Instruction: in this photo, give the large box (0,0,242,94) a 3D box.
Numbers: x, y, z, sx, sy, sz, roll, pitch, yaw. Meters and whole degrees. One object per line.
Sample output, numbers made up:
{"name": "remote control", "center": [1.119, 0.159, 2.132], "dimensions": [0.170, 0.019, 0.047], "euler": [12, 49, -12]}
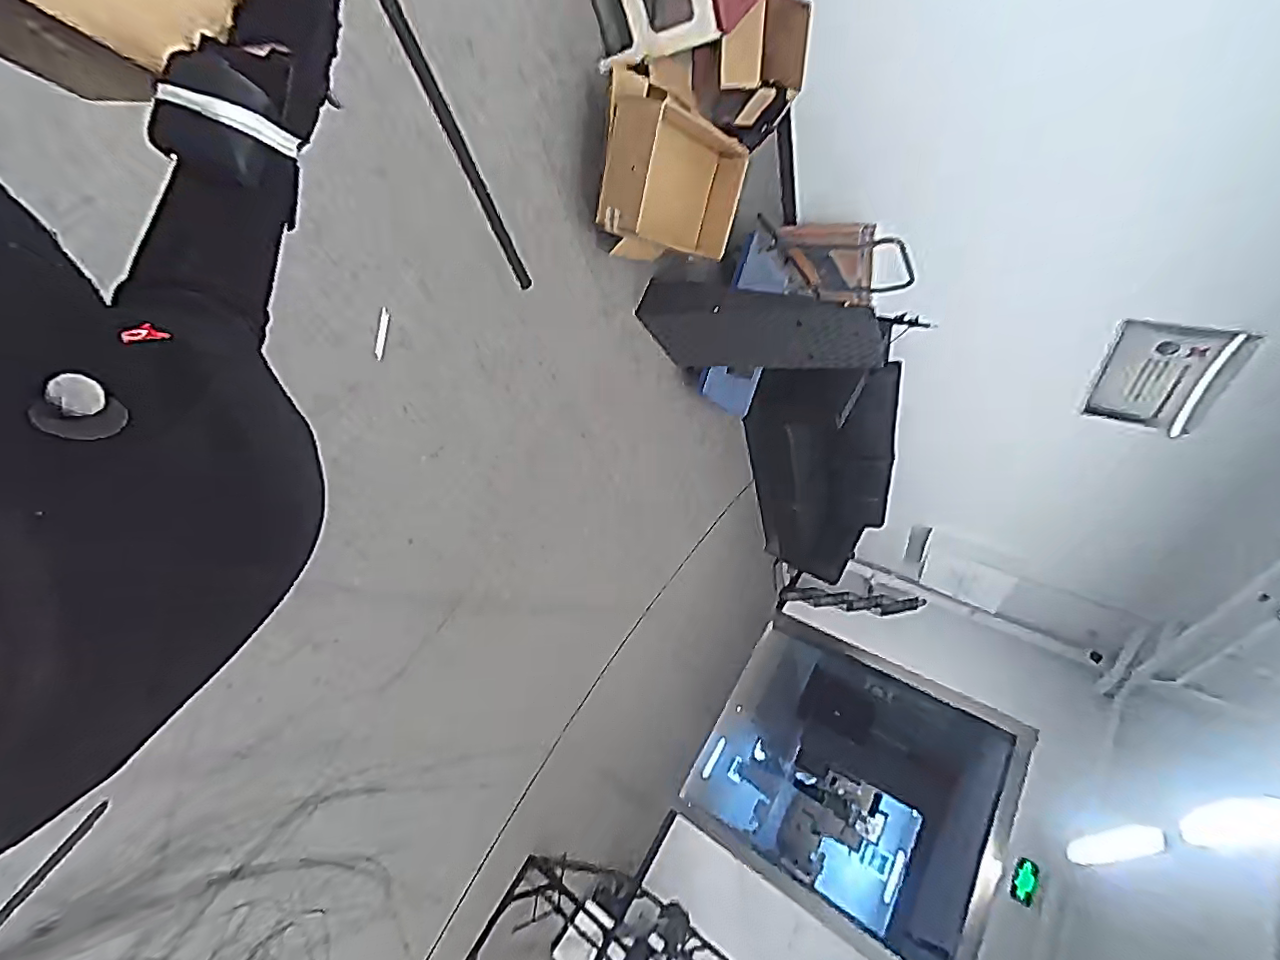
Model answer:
{"name": "large box", "center": [-0.468, -0.483, 0.273], "dimensions": [0.408, 0.320, 0.320], "euler": [11, 103, -60]}
